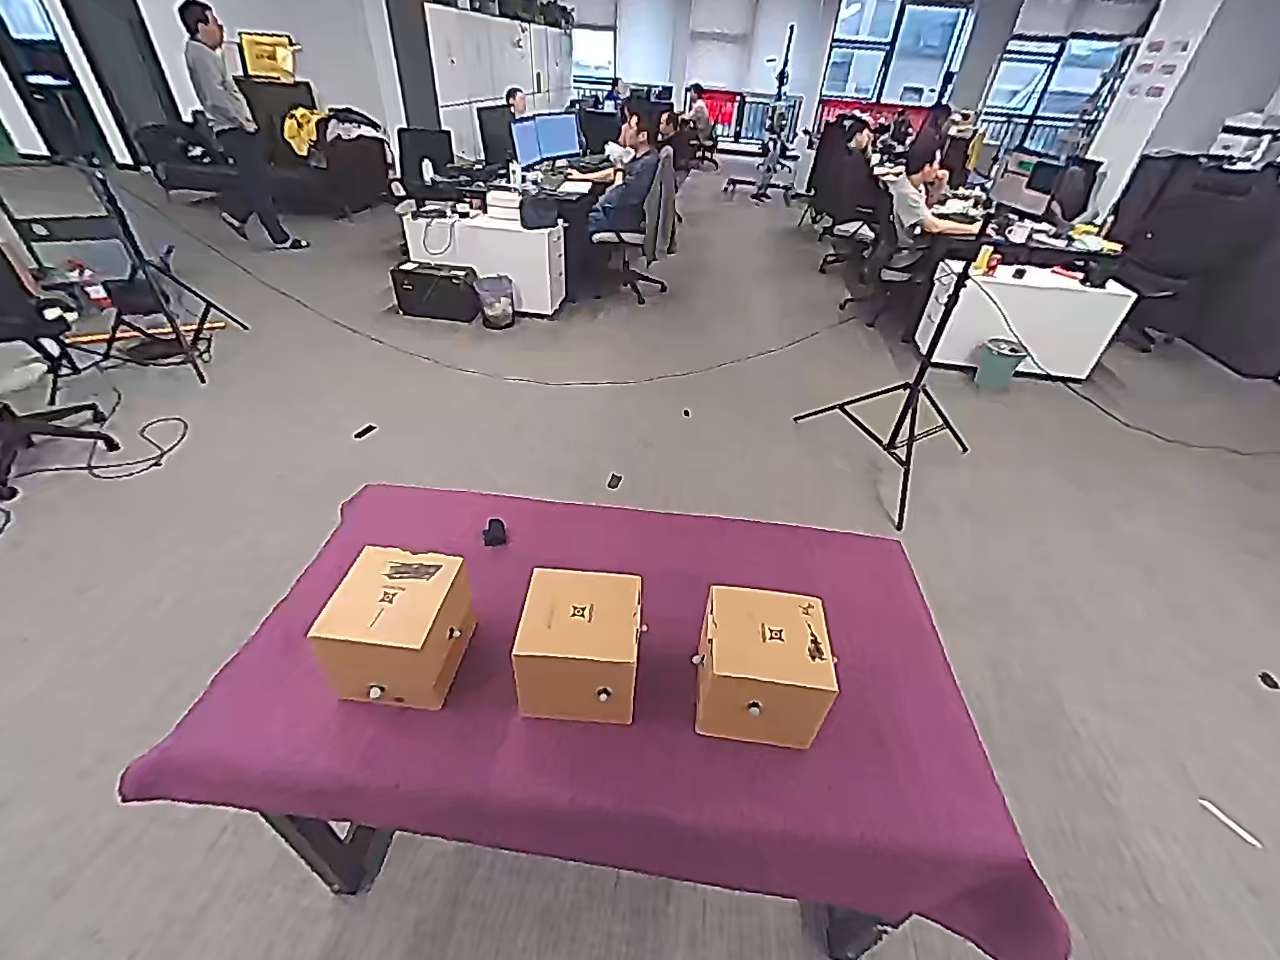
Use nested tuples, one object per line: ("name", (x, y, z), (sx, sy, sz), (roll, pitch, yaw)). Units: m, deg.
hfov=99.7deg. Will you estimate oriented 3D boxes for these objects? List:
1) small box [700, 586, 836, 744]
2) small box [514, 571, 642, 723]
("small box", (0.188, 0.291, 0.850), (0.179, 0.176, 0.168), (6, 38, 4))
("small box", (-0.090, 0.266, 0.860), (0.179, 0.176, 0.168), (3, 36, 0))
